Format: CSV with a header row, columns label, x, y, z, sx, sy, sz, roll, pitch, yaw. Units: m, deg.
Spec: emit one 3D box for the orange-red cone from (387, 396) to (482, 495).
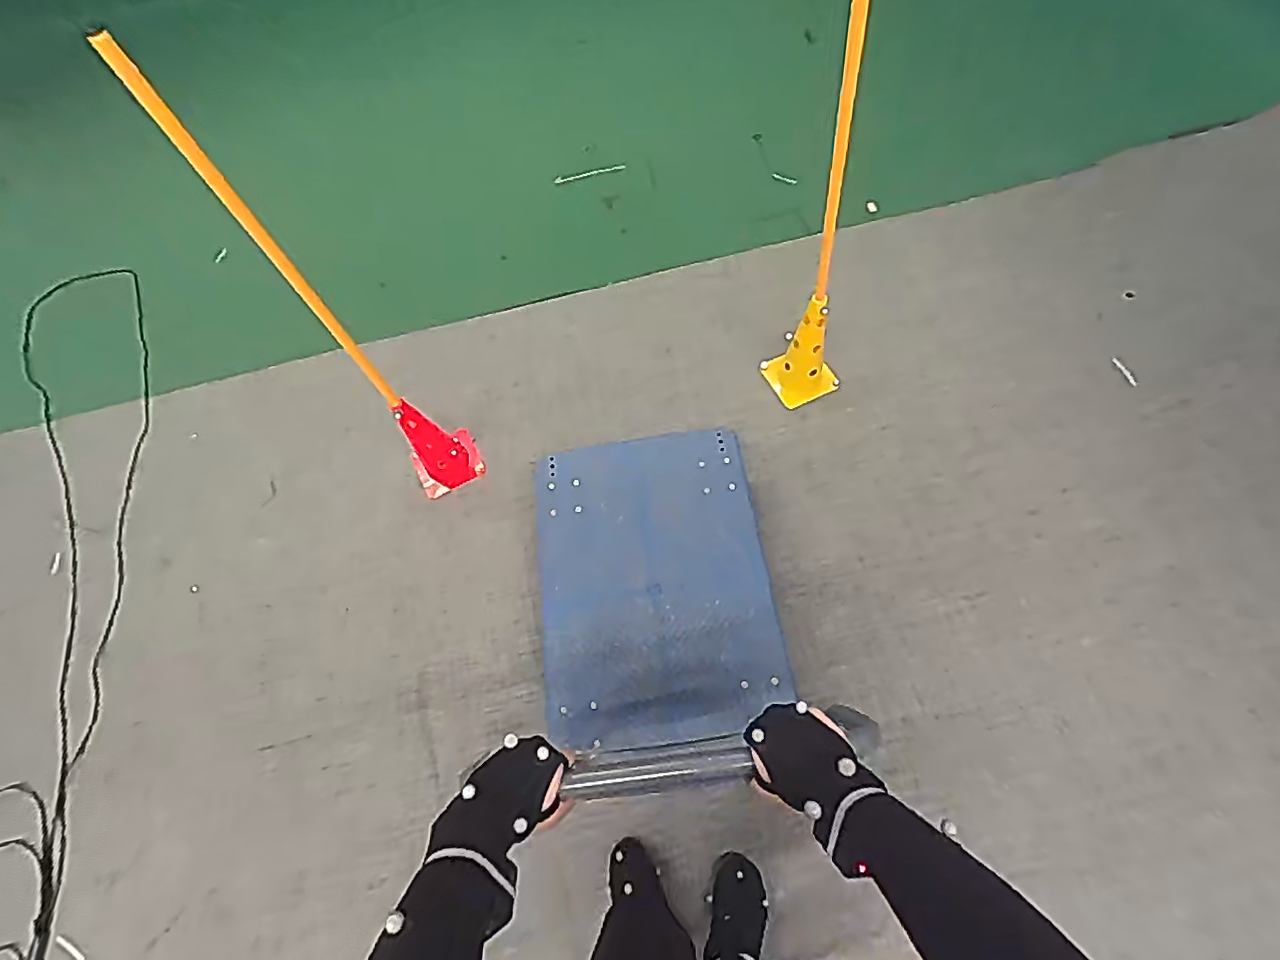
label,x,y,z,sx,sy,sz,roll,pitch,yaw
orange-red cone,-0.641,-0.133,1.597,0.199,0.360,0.198,-28,65,-7
